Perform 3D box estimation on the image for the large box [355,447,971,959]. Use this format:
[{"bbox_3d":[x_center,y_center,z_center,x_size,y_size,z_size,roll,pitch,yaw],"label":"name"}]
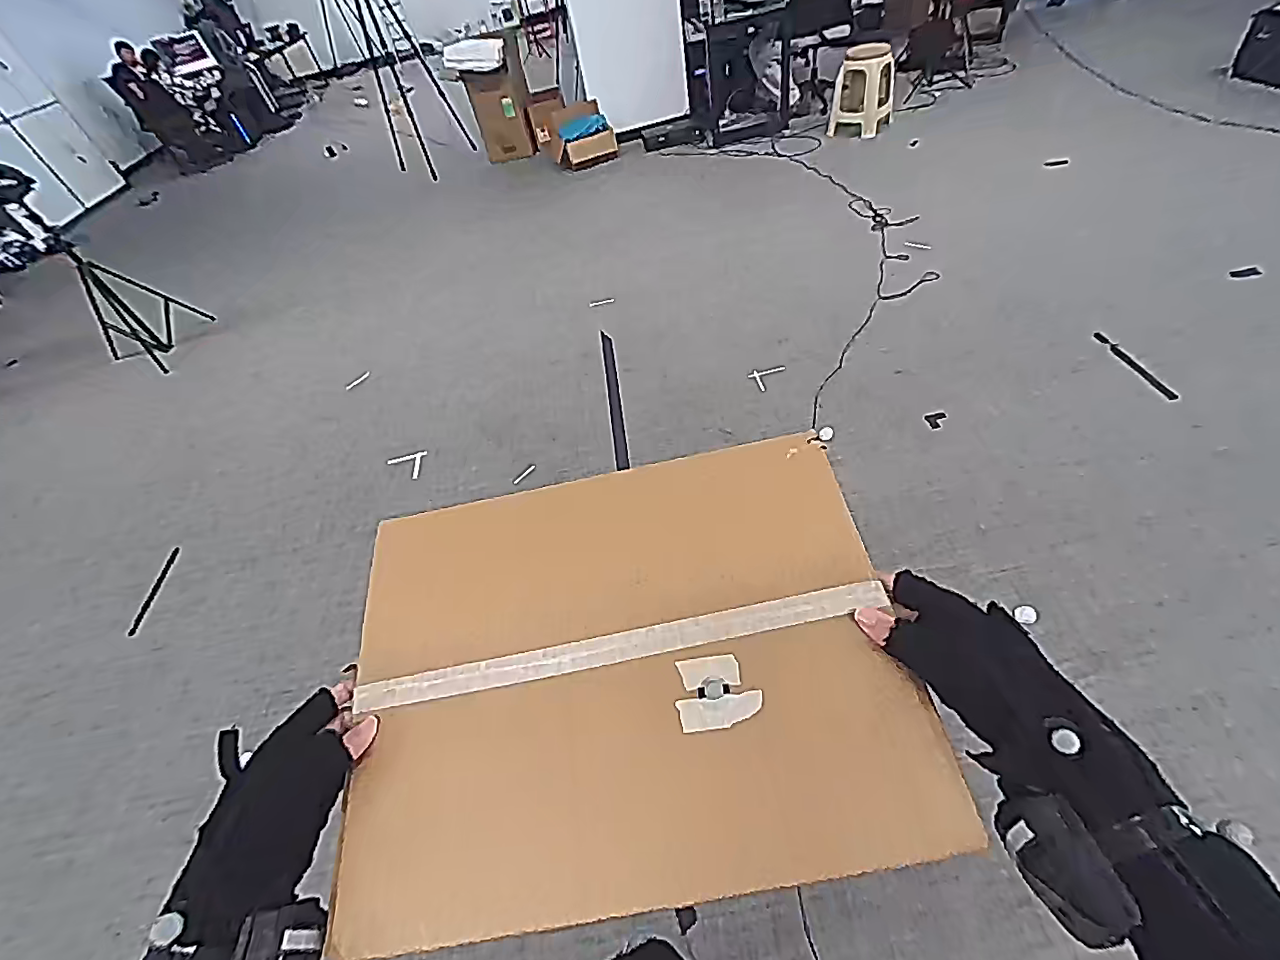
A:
[{"bbox_3d":[0.007,0.216,0.540,0.408,0.320,0.320,-12,57,1],"label":"large box"}]
